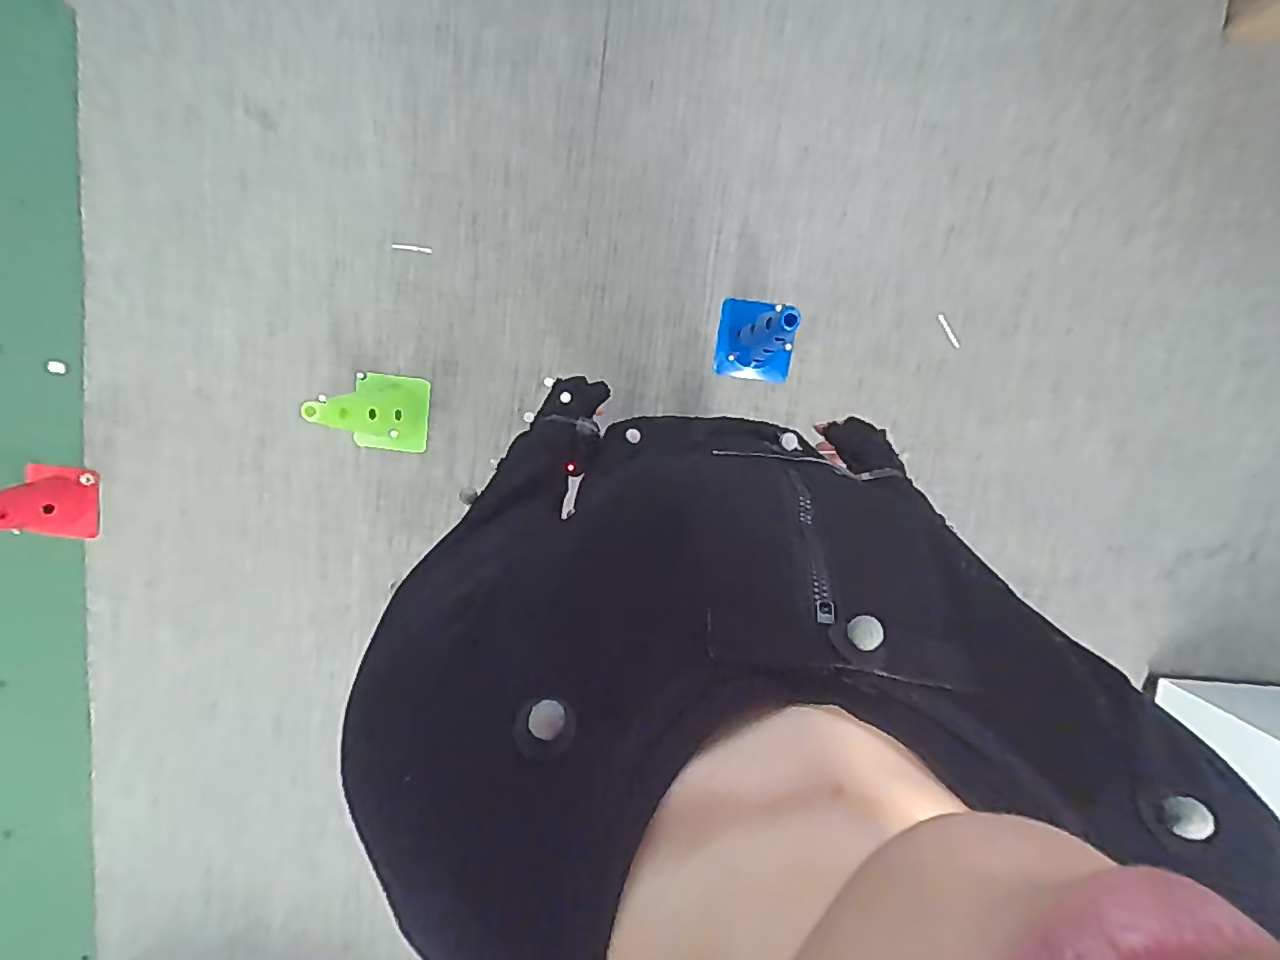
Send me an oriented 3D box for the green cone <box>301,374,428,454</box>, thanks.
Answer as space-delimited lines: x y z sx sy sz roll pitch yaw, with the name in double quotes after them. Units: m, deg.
-0.675 -0.154 1.278 0.202 0.368 0.200 6 98 0 "green cone"
